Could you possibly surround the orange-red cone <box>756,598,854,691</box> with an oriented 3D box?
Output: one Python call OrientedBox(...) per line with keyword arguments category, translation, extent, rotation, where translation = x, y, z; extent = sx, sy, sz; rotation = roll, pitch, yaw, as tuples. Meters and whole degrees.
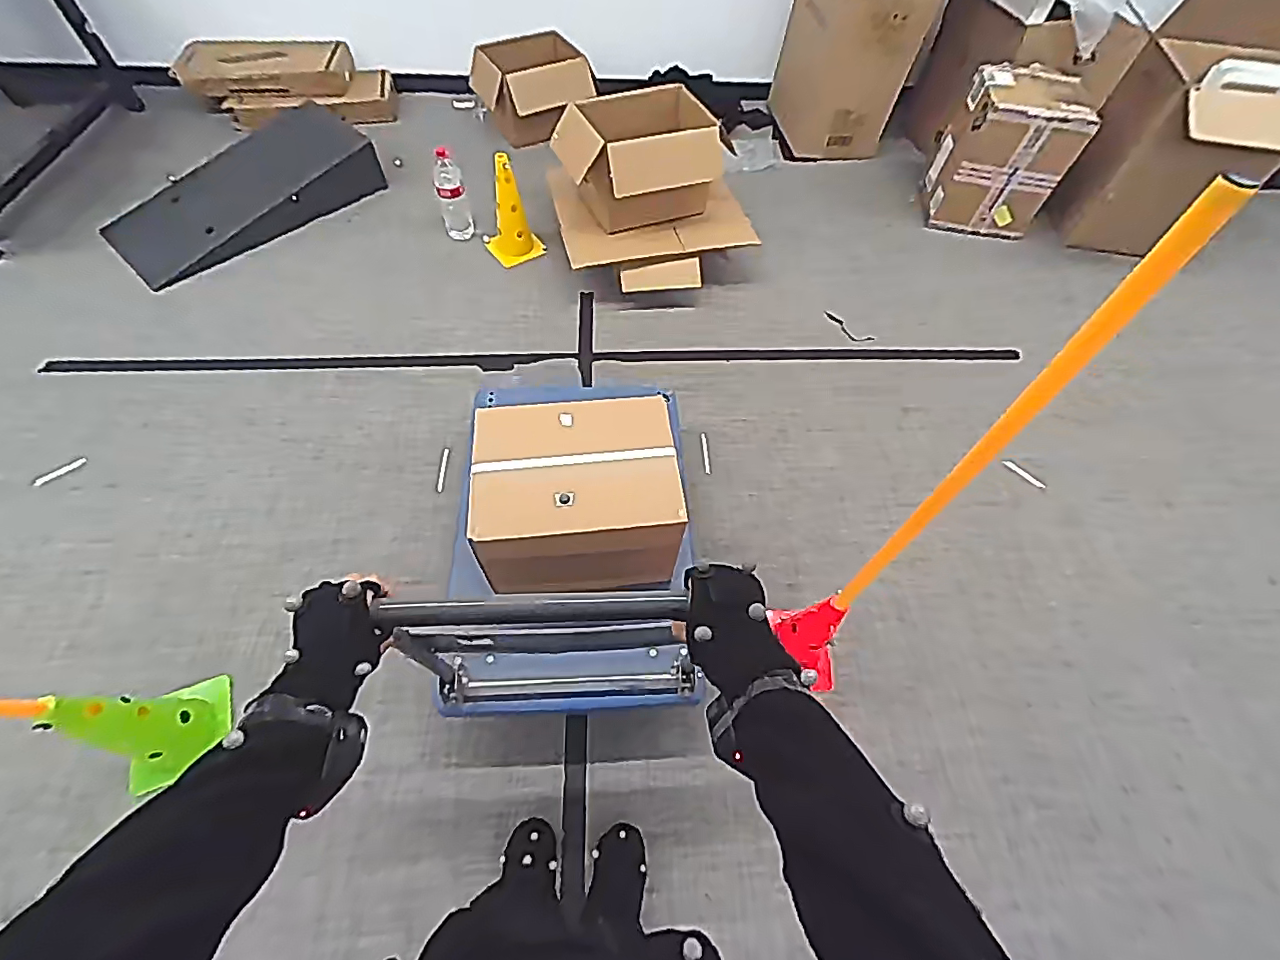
OrientedBox(category="orange-red cone", translation=(0.405, 0.342, 1.235), extent=(0.199, 0.360, 0.198), rotation=(5, 59, -1))
